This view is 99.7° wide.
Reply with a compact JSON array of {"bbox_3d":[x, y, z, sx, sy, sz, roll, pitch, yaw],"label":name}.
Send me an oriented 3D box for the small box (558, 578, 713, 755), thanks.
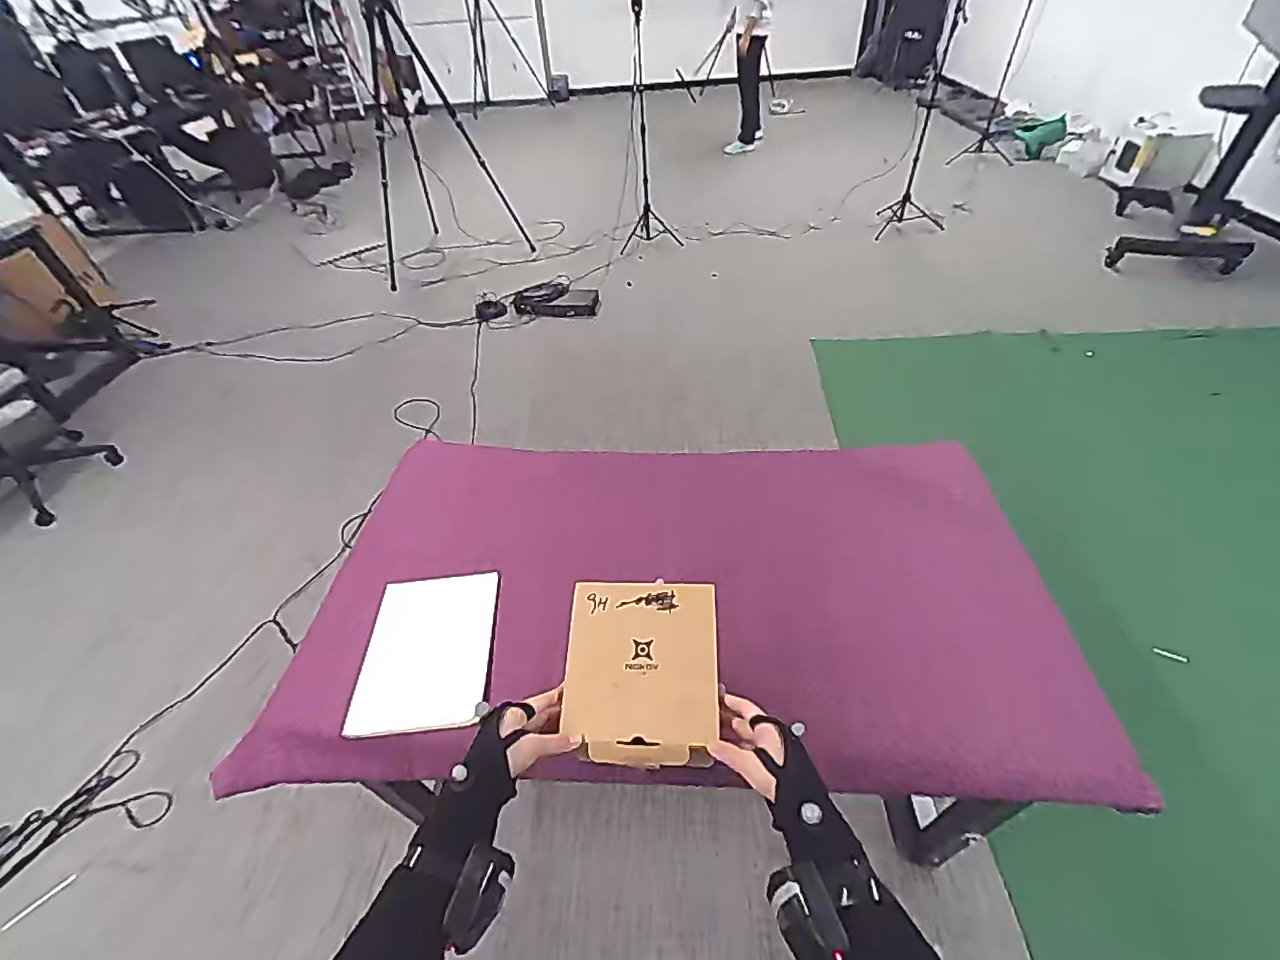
[{"bbox_3d":[0.005,0.234,0.665,0.168,0.176,0.179,0,58,4],"label":"small box"}]
